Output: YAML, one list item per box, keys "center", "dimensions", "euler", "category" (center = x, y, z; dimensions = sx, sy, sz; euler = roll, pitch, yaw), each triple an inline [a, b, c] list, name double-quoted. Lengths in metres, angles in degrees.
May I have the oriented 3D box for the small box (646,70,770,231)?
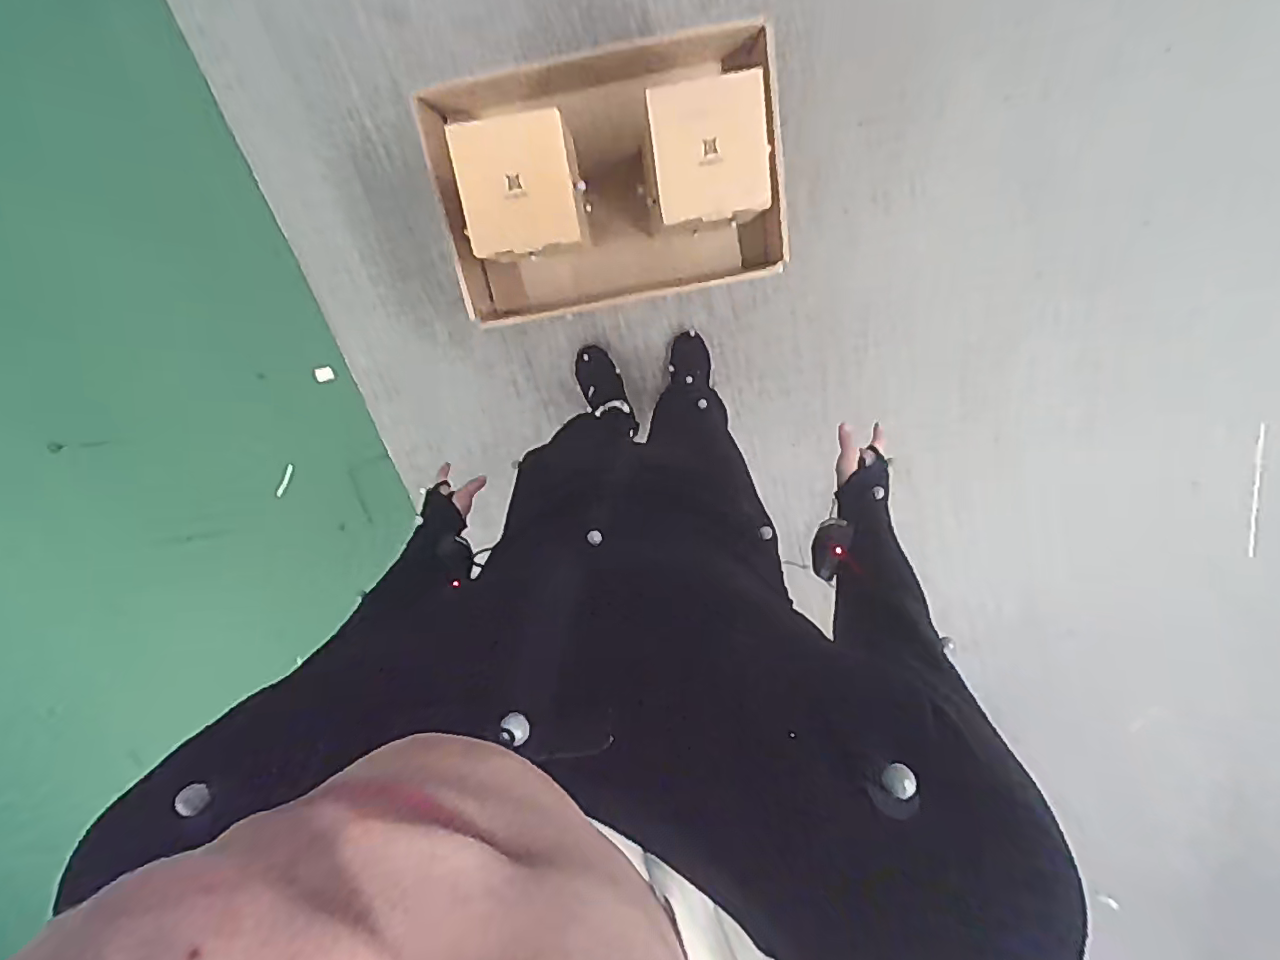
- center: [0.101, -0.497, 0.846]
  dimensions: [0.168, 0.176, 0.179]
  euler: [-8, 109, 2]
  category: "small box"

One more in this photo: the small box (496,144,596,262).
- center: [-0.184, -0.511, 1.019]
  dimensions: [0.179, 0.176, 0.168]
  euler: [-7, 110, 2]
  category: "small box"

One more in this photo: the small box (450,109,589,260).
- center: [-0.180, -0.458, 0.864]
  dimensions: [0.168, 0.176, 0.179]
  euler: [-8, 110, 3]
  category: "small box"
